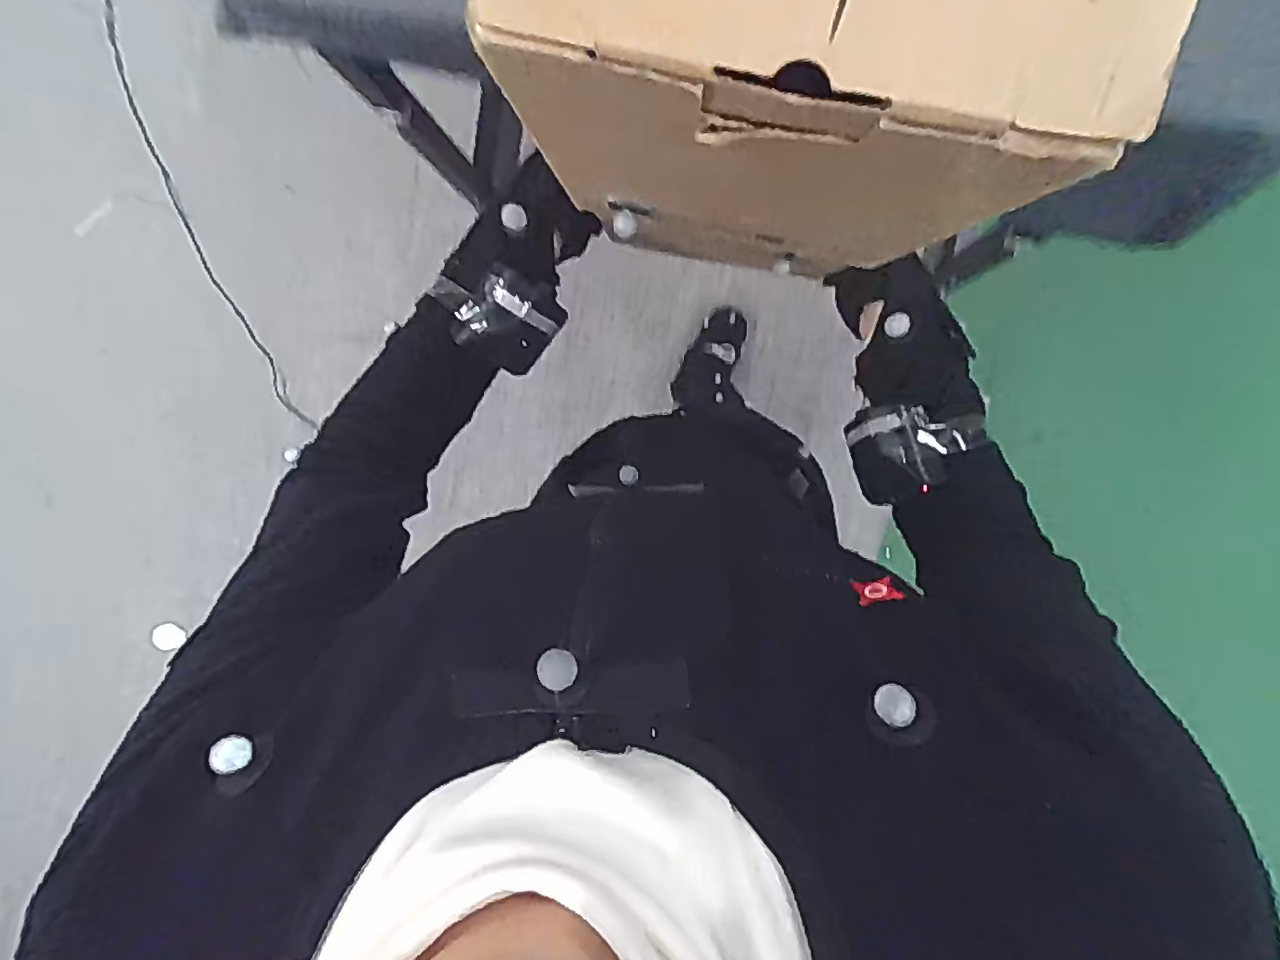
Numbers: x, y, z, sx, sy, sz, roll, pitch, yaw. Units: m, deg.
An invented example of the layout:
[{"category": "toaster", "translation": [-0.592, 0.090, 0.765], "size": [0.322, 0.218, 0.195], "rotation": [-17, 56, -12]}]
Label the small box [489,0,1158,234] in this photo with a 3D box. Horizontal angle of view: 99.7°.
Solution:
[{"category": "small box", "translation": [0.060, -0.206, 0.194], "size": [0.168, 0.176, 0.179], "rotation": [11, 103, 0]}]

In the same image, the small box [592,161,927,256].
[{"category": "small box", "translation": [0.073, -0.244, 0.336], "size": [0.179, 0.176, 0.168], "rotation": [7, 104, 1]}]
